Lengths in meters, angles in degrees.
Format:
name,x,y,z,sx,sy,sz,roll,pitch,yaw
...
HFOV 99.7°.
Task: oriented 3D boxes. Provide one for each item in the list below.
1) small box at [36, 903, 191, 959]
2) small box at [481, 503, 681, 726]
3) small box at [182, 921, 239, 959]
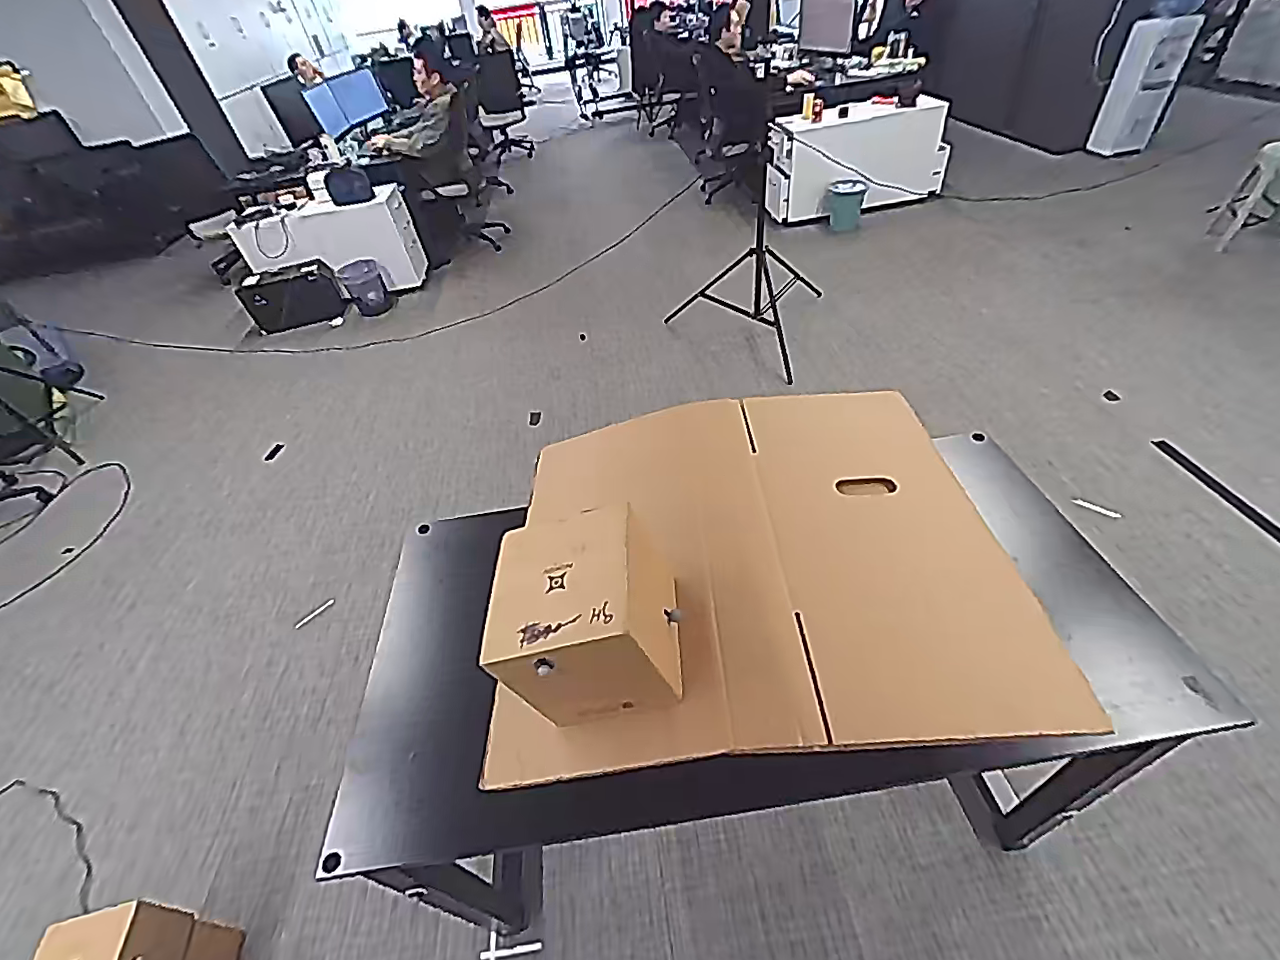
name,x,y,z,sx,sy,sz,roll,pitch,yaw
small box,-1.016,0.949,1.030,0.168,0.176,0.179,-14,43,-6
small box,-0.057,0.161,0.637,0.168,0.176,0.179,-17,41,14
small box,-0.994,1.069,1.138,0.168,0.176,0.179,-12,44,-3
